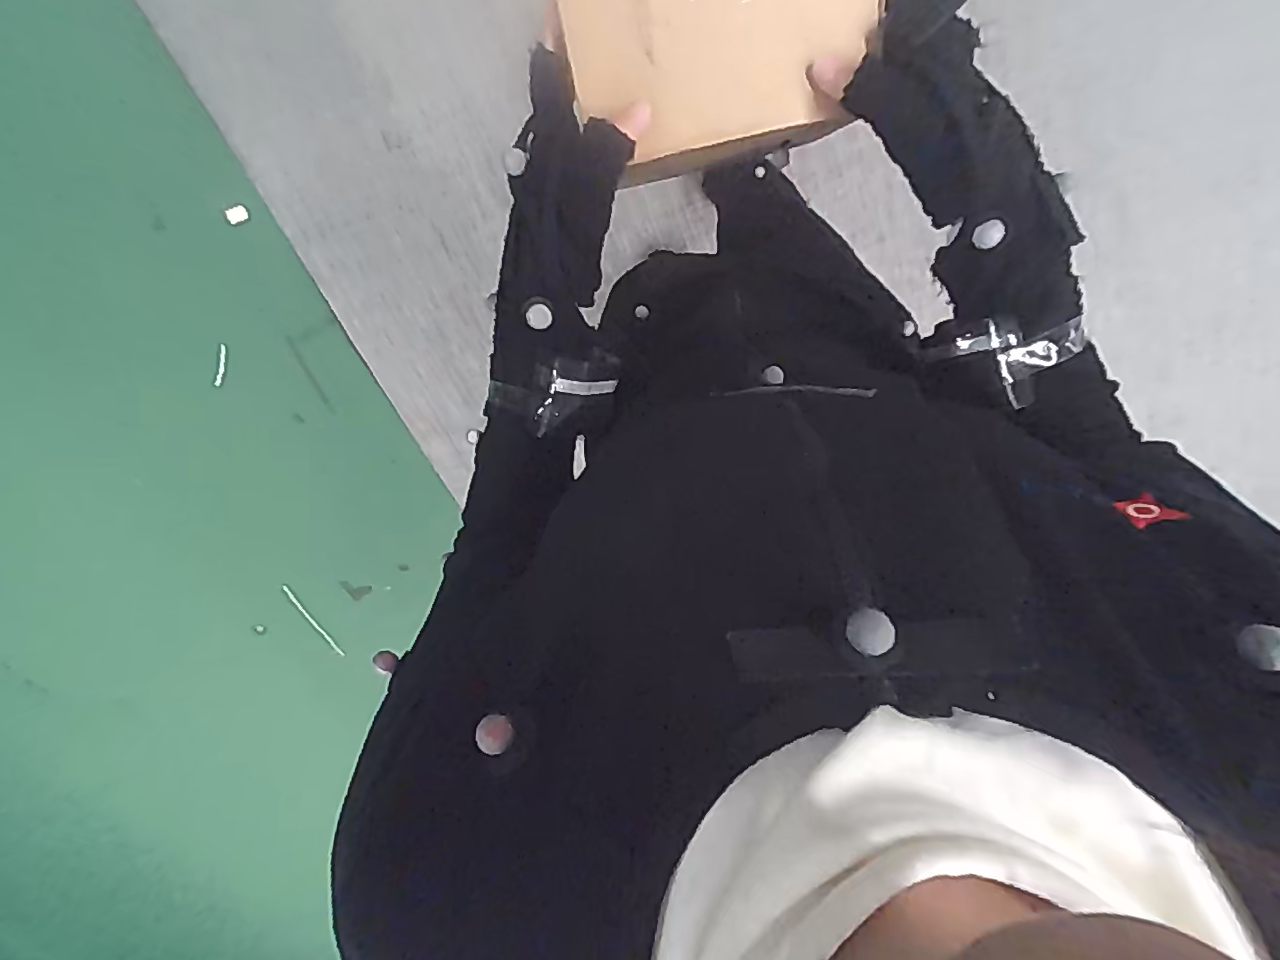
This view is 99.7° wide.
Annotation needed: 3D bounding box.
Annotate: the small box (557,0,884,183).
[{"bbox_3d":[0.040,-0.313,0.361,0.179,0.176,0.168,-11,113,7],"label":"small box"}]
